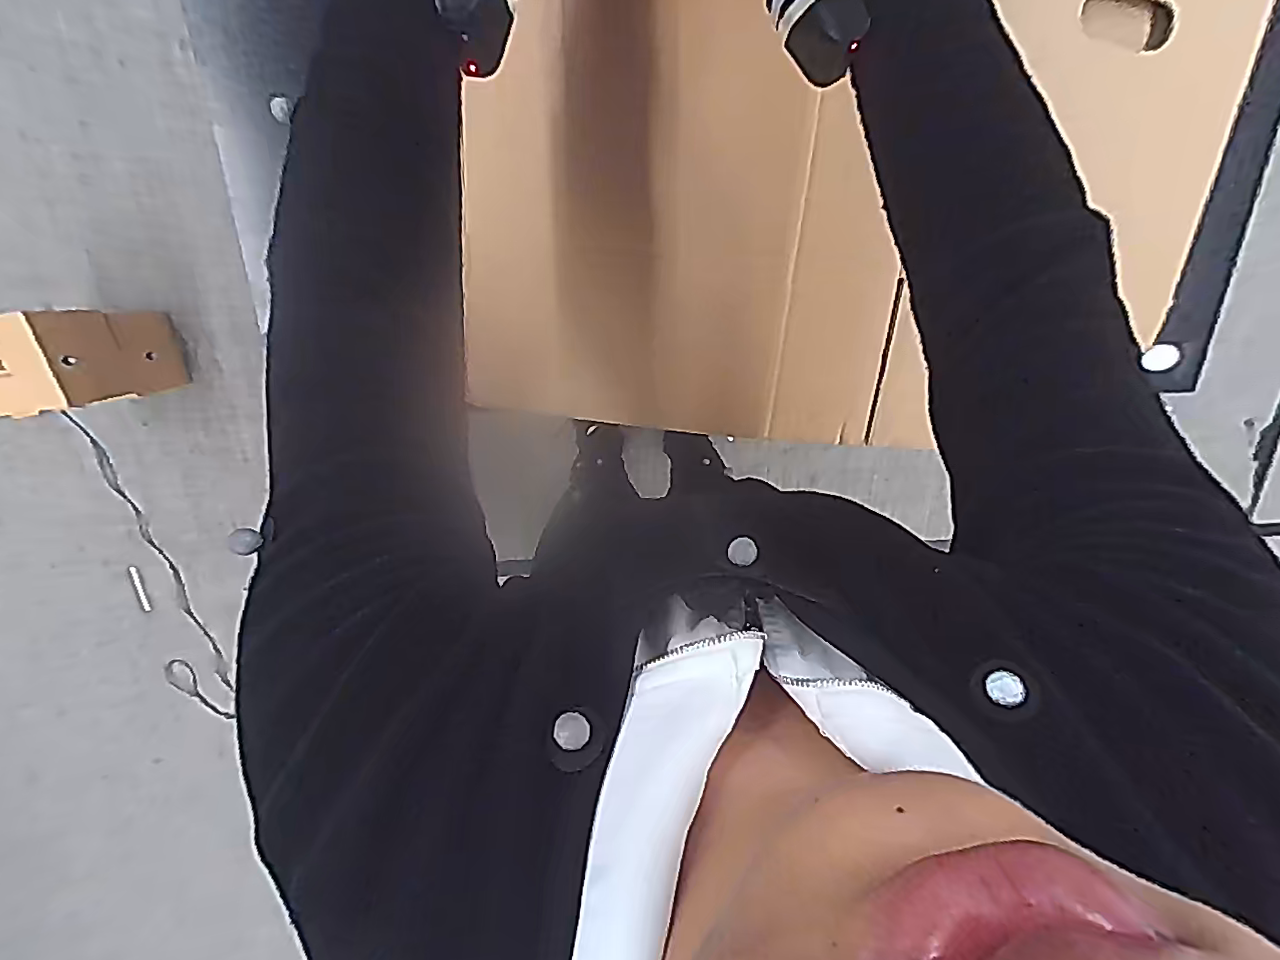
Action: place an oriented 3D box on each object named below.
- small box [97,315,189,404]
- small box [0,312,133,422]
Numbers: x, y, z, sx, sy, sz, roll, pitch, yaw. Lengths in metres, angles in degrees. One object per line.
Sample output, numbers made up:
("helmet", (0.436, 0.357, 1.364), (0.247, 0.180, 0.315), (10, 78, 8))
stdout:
("small box", (-1.161, -0.269, 1.193), (0.168, 0.176, 0.179), (-6, 110, -4))
("small box", (-1.147, -0.221, 1.038), (0.168, 0.176, 0.179), (-10, 109, -3))
